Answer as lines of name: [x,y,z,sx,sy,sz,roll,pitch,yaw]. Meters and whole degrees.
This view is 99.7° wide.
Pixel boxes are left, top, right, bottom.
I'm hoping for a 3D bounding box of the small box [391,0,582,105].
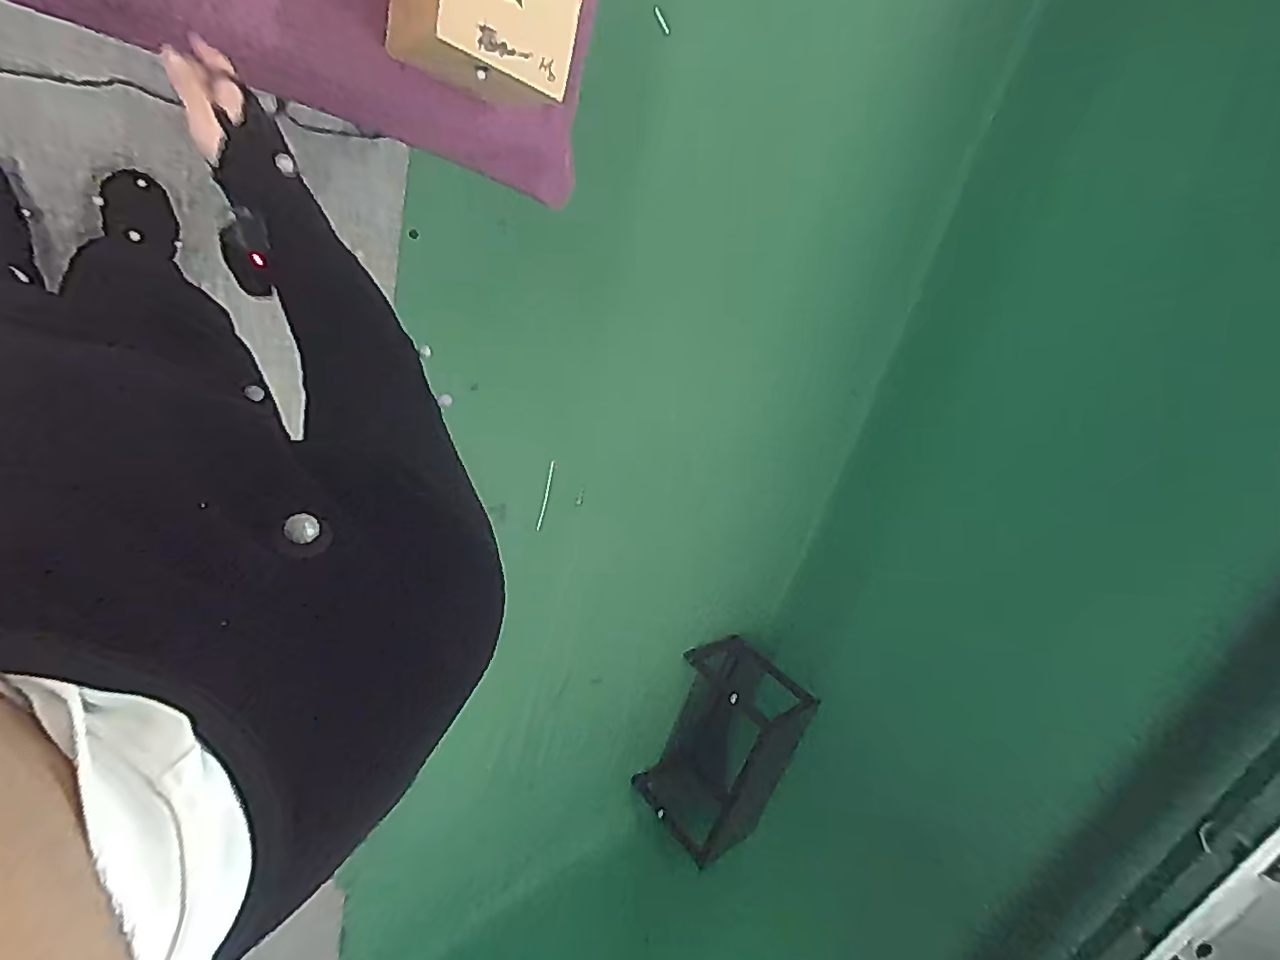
small box: [-0.186,-0.589,0.655,0.168,0.176,0.179,-3,115,-43]
